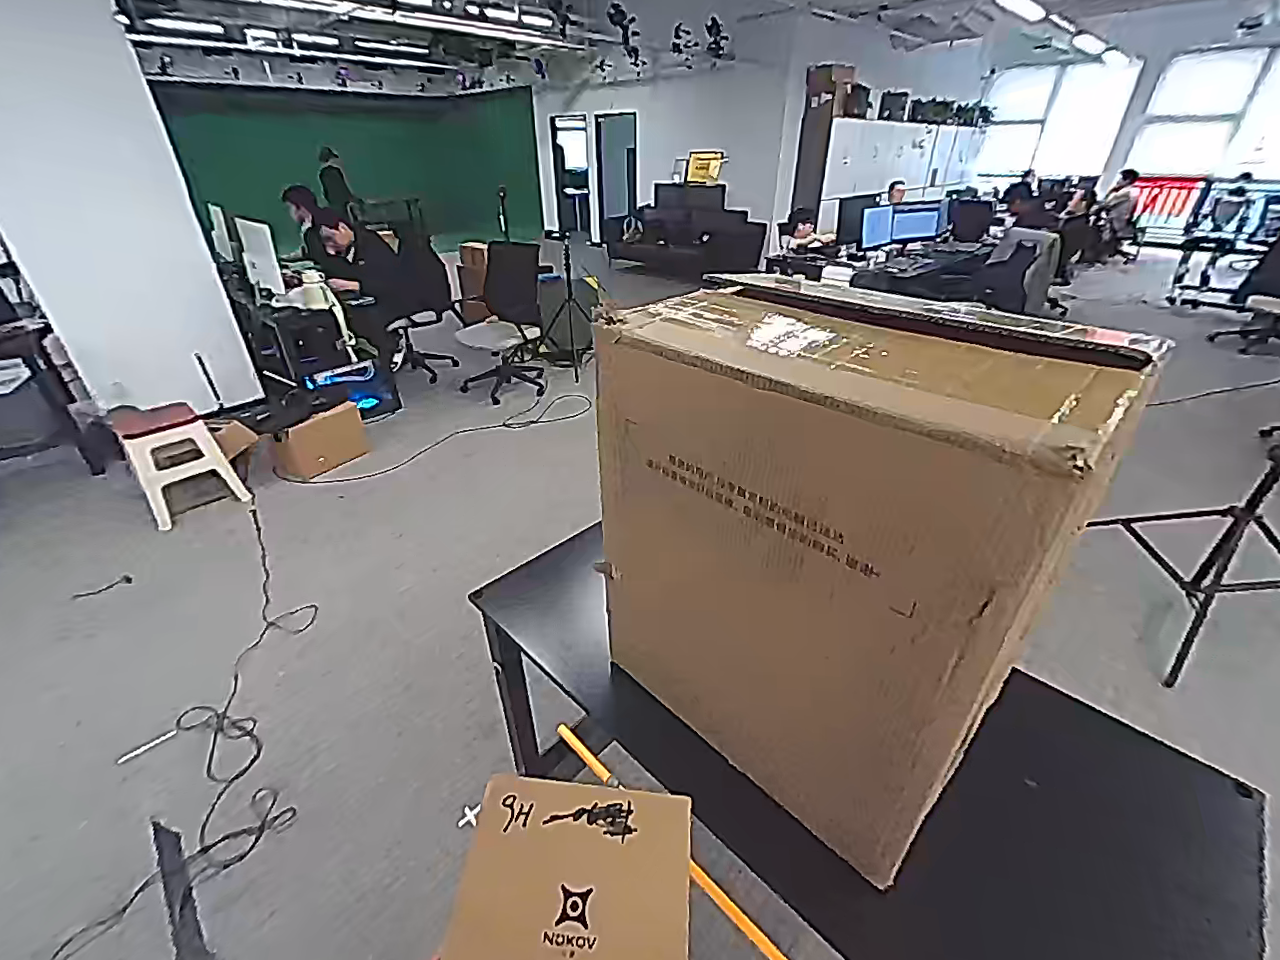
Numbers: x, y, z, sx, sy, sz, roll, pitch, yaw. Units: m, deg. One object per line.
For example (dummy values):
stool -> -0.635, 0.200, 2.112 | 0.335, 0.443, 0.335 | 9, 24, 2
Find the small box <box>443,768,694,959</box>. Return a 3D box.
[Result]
small box -> -0.050, 0.358, 0.434 | 0.168, 0.176, 0.179 | 6, 47, 1
